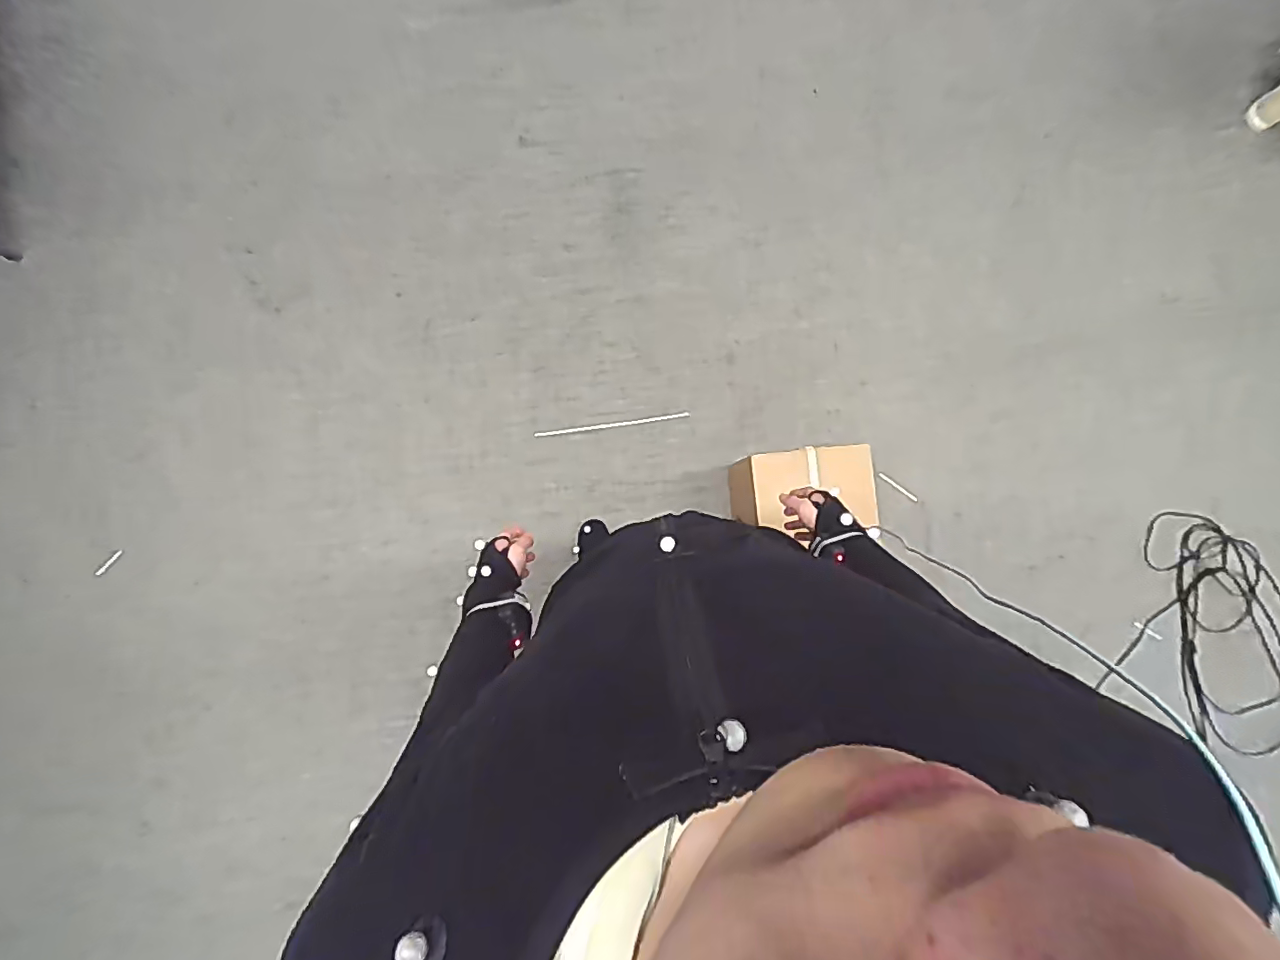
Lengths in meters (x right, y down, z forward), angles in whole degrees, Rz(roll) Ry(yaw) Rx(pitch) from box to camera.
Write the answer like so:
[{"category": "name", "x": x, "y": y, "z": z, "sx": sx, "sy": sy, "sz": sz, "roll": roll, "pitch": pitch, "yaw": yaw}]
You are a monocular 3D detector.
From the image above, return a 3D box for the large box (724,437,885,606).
[{"category": "large box", "x": 0.441, "y": 0.109, "z": 1.522, "sx": 0.320, "sy": 0.320, "sz": 0.408, "roll": -6, "pitch": 88, "yaw": -2}]
